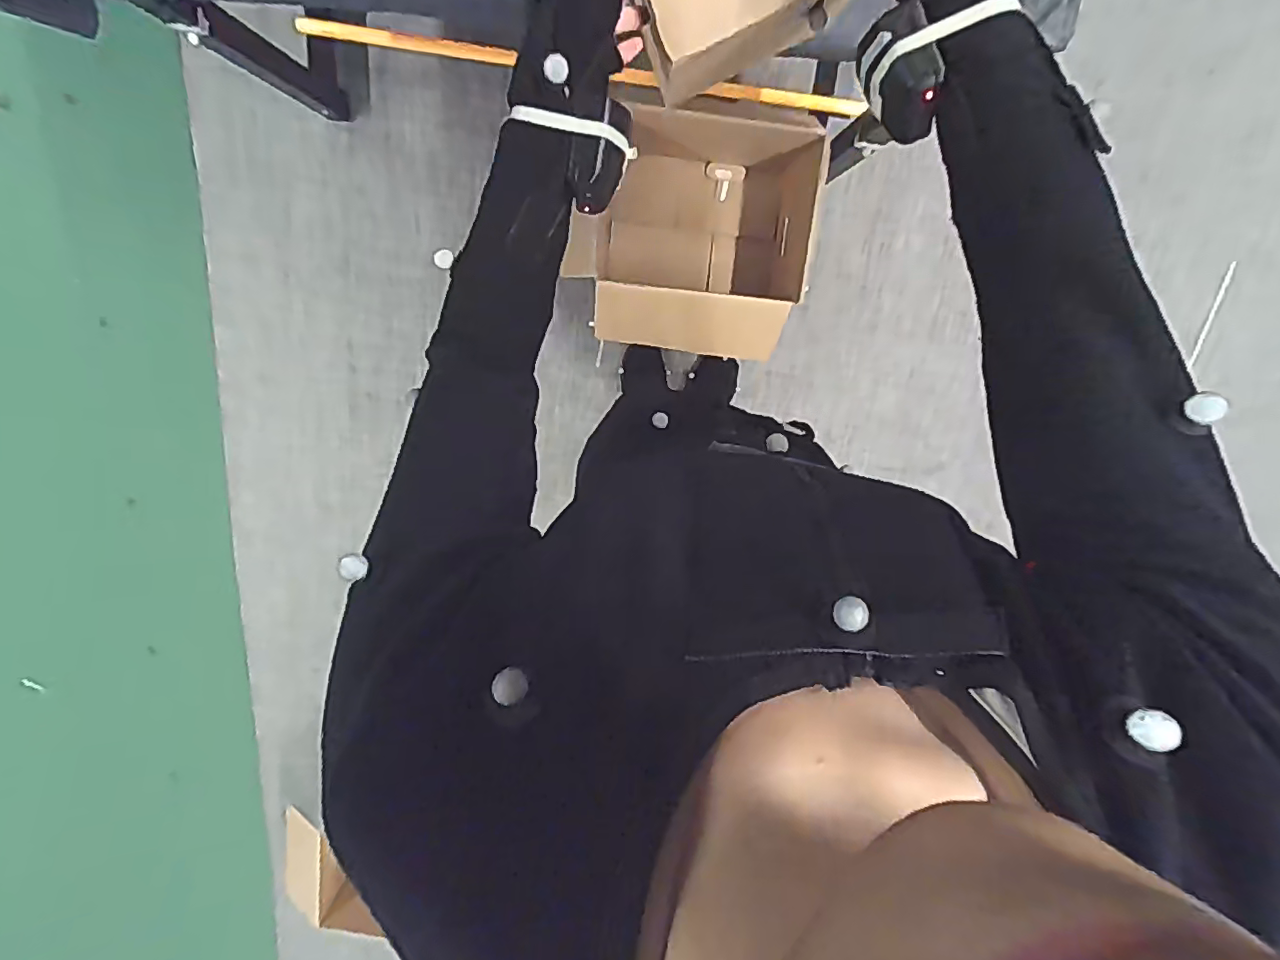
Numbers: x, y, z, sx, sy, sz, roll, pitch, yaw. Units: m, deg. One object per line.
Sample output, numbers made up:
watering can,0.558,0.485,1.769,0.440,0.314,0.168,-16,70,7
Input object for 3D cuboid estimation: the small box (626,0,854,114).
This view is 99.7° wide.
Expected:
small box,0.073,-0.451,0.460,0.179,0.176,0.168,-19,111,11
